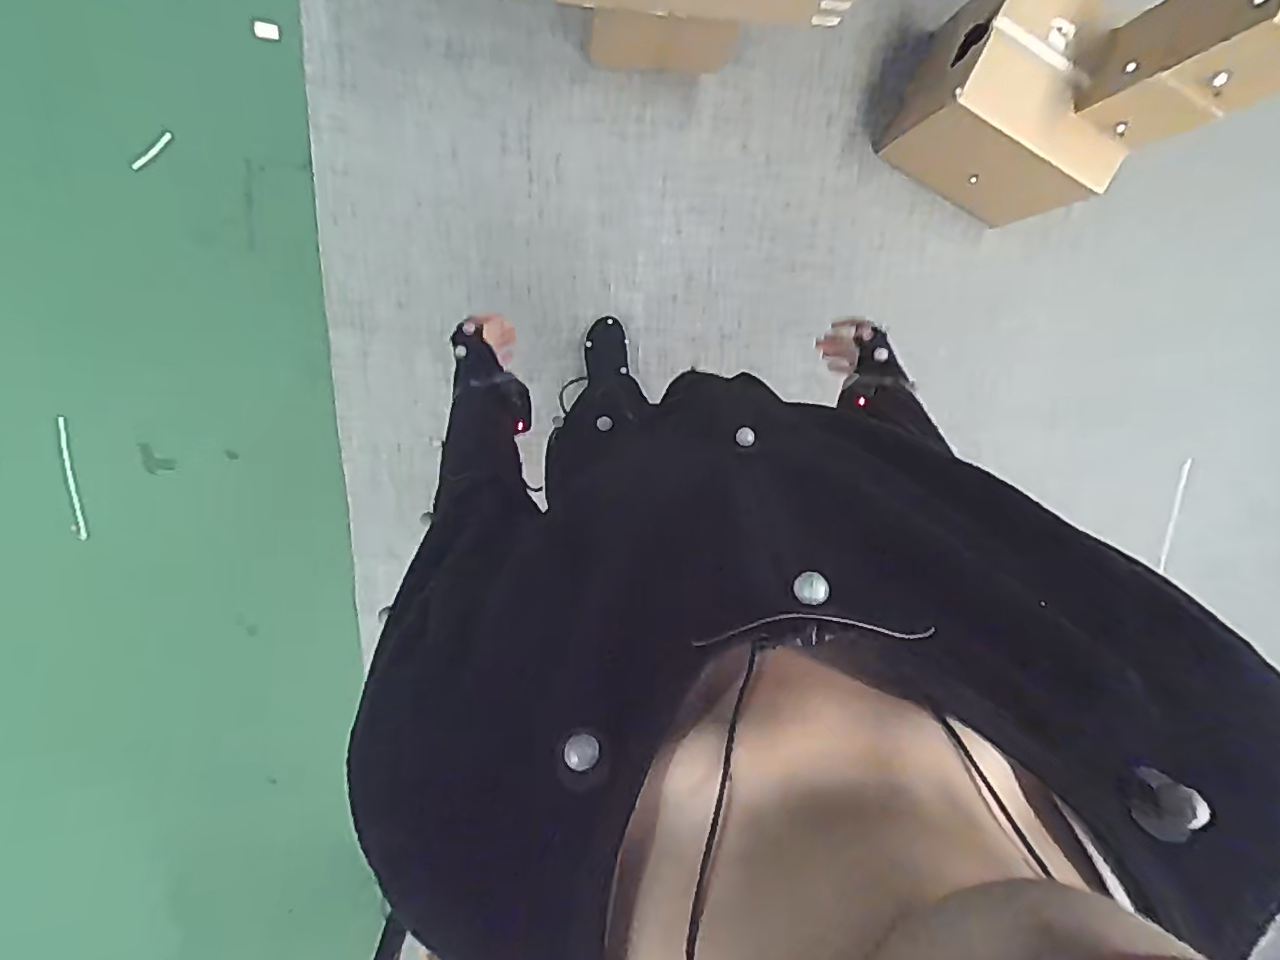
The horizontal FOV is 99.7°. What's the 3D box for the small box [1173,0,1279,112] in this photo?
[{"bbox_3d":[1.035,-0.747,0.870,0.168,0.176,0.179,20,100,-10],"label":"small box"}]
